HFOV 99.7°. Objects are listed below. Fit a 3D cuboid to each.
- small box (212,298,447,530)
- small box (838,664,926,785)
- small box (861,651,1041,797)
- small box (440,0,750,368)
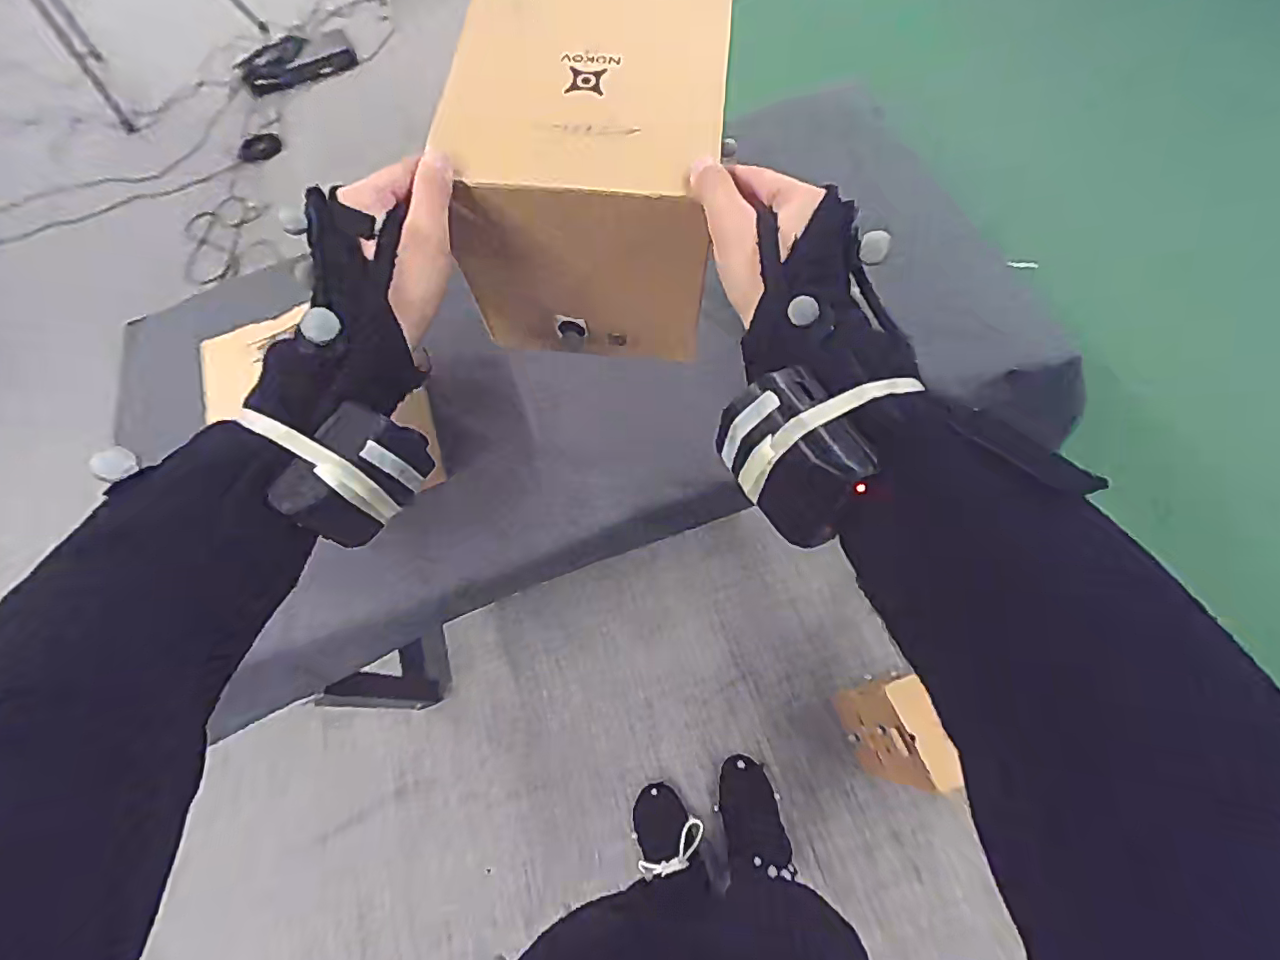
[{"bbox_3d":[-0.350,-0.069,0.629,0.168,0.176,0.179,-23,65,-4],"label":"small box"},{"bbox_3d":[0.512,0.484,1.070,0.179,0.176,0.168,-21,63,-2],"label":"small box"},{"bbox_3d":[0.511,0.410,0.921,0.179,0.176,0.168,-22,65,-3],"label":"small box"},{"bbox_3d":[-0.019,-0.207,0.396,0.168,0.176,0.179,6,70,4],"label":"small box"}]
